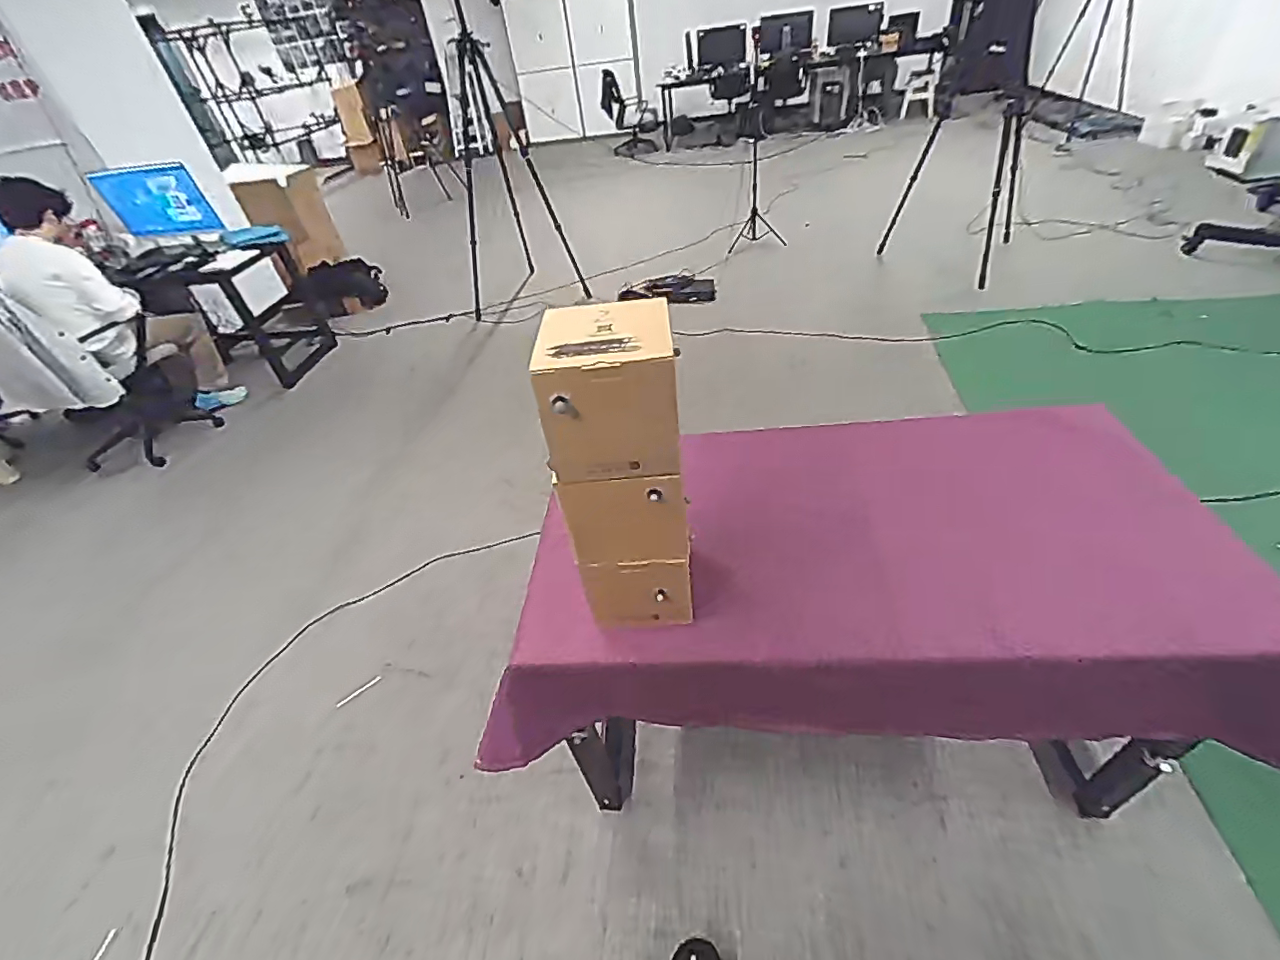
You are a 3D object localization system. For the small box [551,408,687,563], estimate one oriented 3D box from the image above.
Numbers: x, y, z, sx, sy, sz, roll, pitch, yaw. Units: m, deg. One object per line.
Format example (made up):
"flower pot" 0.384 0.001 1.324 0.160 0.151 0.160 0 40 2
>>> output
"small box" -0.024 0.011 0.819 0.179 0.176 0.168 -4 41 3

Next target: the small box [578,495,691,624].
"small box" -0.001 0.133 0.924 0.168 0.176 0.179 -3 40 5
